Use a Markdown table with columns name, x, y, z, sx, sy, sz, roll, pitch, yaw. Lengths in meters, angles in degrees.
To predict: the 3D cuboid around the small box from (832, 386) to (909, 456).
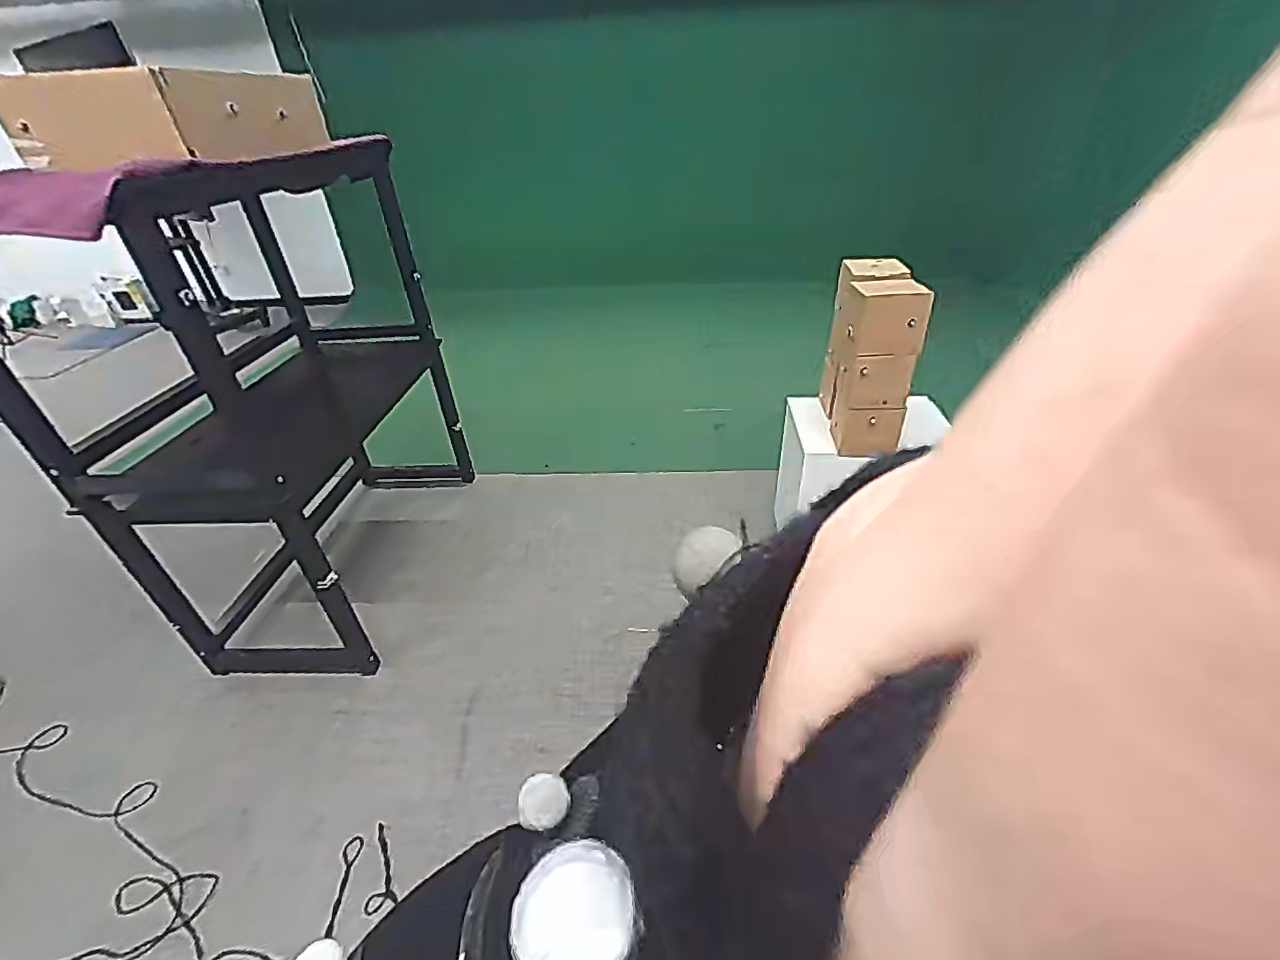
| name | x | y | z | sx | sy | sz | roll | pitch | yaw |
| --- | --- | --- | --- | --- | --- | --- | --- | --- | --- |
| small box | 0.722 | -0.186 | 1.714 | 0.179 | 0.176 | 0.168 | 1 | 34 | 7 |

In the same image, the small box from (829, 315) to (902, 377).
| name | x | y | z | sx | sy | sz | roll | pitch | yaw |
| --- | --- | --- | --- | --- | --- | --- | --- | --- | --- |
| small box | 0.744 | -0.450 | 1.802 | 0.179 | 0.176 | 0.168 | 1 | 36 | 7 |

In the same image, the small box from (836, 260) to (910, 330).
| name | x | y | z | sx | sy | sz | roll | pitch | yaw |
| --- | --- | --- | --- | --- | --- | --- | --- | --- | --- |
| small box | 0.727 | -0.580 | 1.703 | 0.168 | 0.176 | 0.179 | 1 | 37 | 6 |
